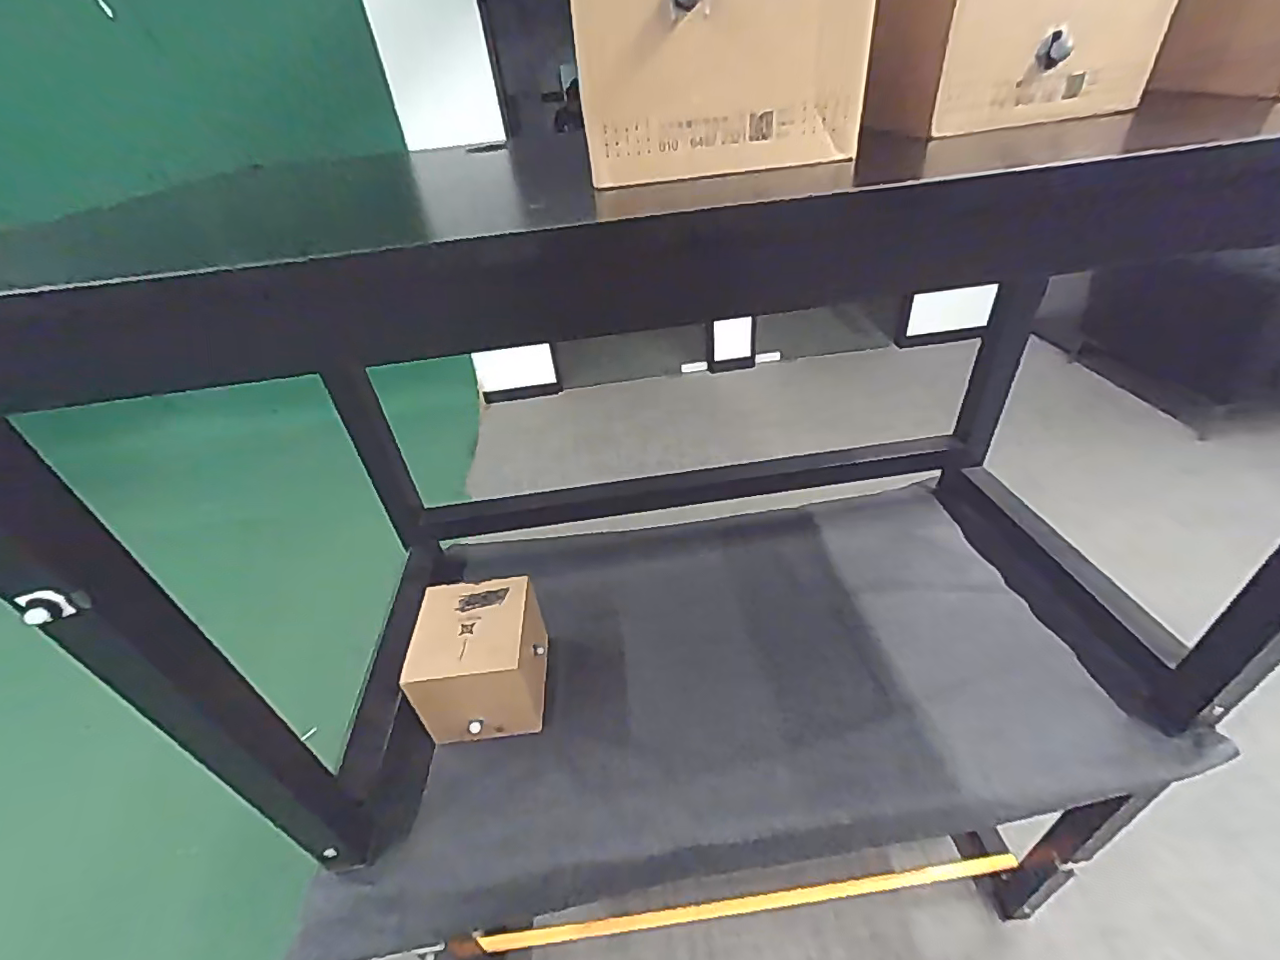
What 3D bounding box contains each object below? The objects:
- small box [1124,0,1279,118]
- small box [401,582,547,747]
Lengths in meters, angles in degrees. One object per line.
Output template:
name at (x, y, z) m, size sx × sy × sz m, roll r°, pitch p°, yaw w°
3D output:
small box at (0.508, -0.363, 0.380) m, size 0.168 × 0.176 × 0.179 m, roll -1°, pitch 36°, yaw 7°
small box at (-0.245, 0.287, 0.849) m, size 0.168 × 0.176 × 0.179 m, roll -7°, pitch 36°, yaw -1°
